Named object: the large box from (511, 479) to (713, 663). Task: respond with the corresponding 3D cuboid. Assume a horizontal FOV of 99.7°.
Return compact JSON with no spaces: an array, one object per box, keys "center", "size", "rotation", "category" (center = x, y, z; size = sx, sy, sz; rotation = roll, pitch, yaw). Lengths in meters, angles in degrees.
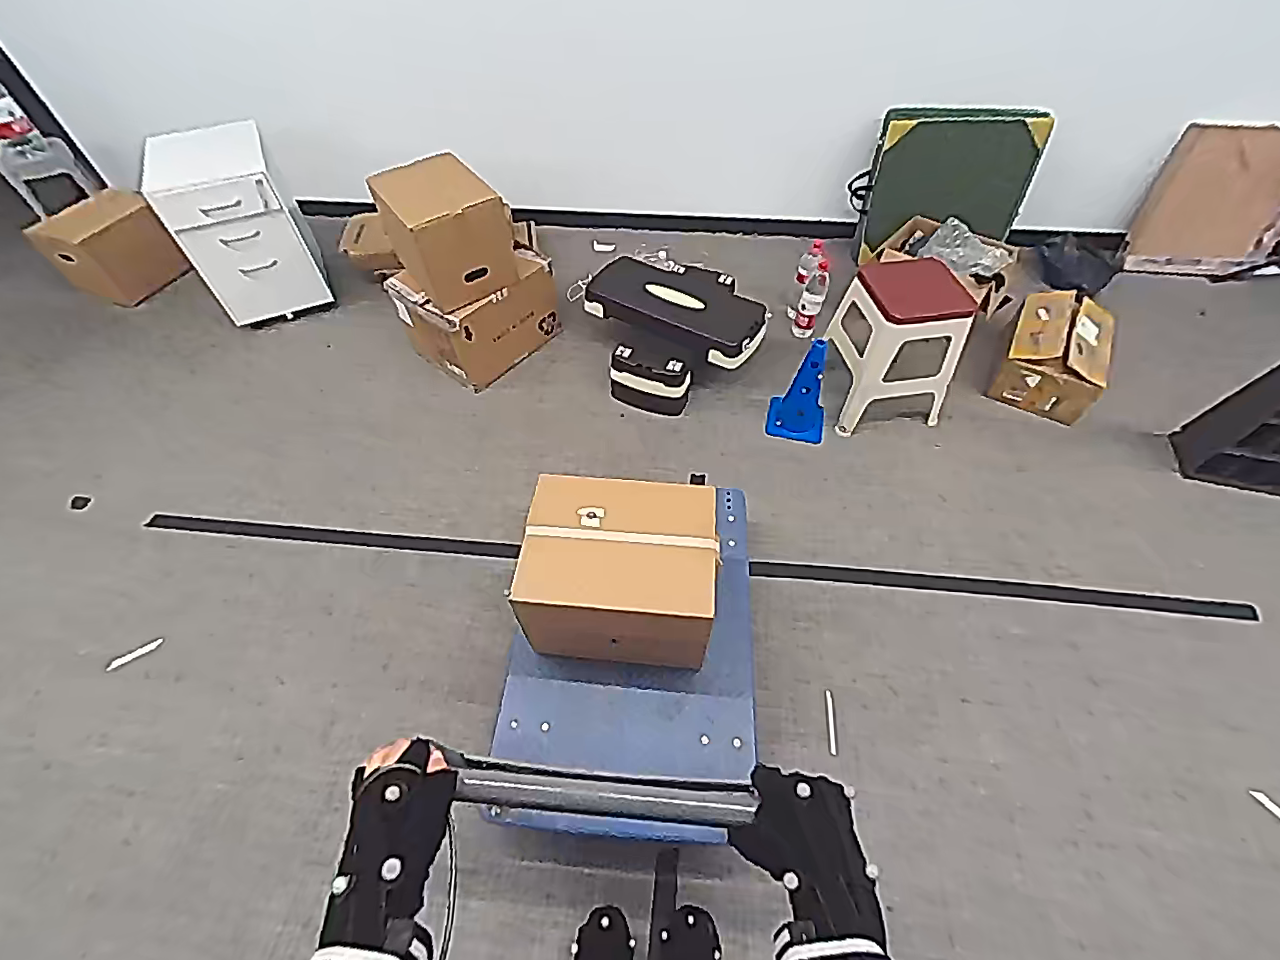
[{"center":[-0.041,0.217,1.259],"size":[0.408,0.320,0.320],"rotation":[4,53,4],"category":"large box"}]
